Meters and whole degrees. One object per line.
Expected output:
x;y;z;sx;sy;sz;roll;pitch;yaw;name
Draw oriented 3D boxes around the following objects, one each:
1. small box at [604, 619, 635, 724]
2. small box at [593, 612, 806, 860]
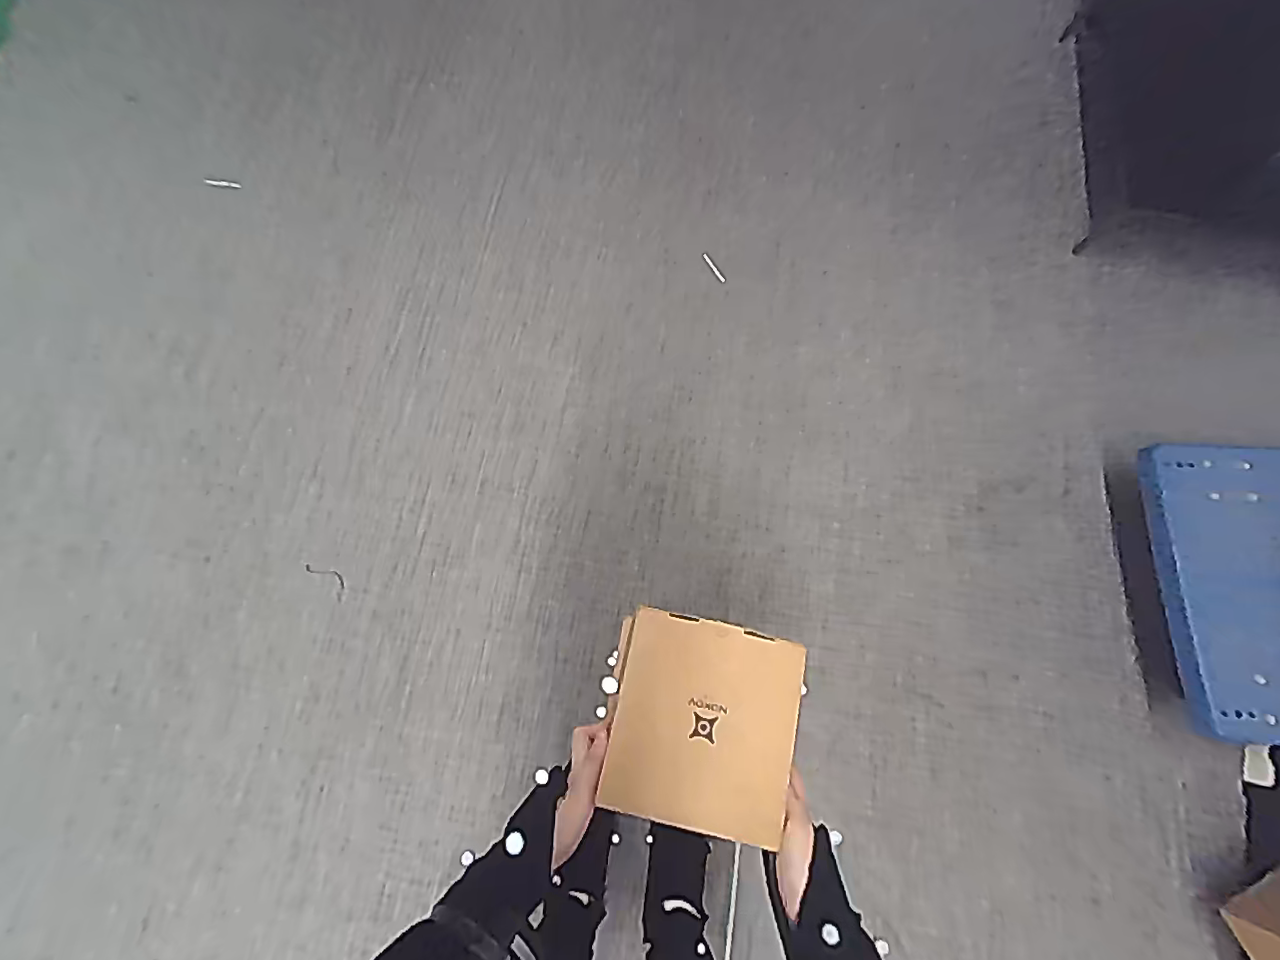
0.043;0.343;0.938;0.179;0.176;0.168;11;75;2;small box
0.056;0.247;0.561;0.168;0.176;0.179;13;72;2;small box
